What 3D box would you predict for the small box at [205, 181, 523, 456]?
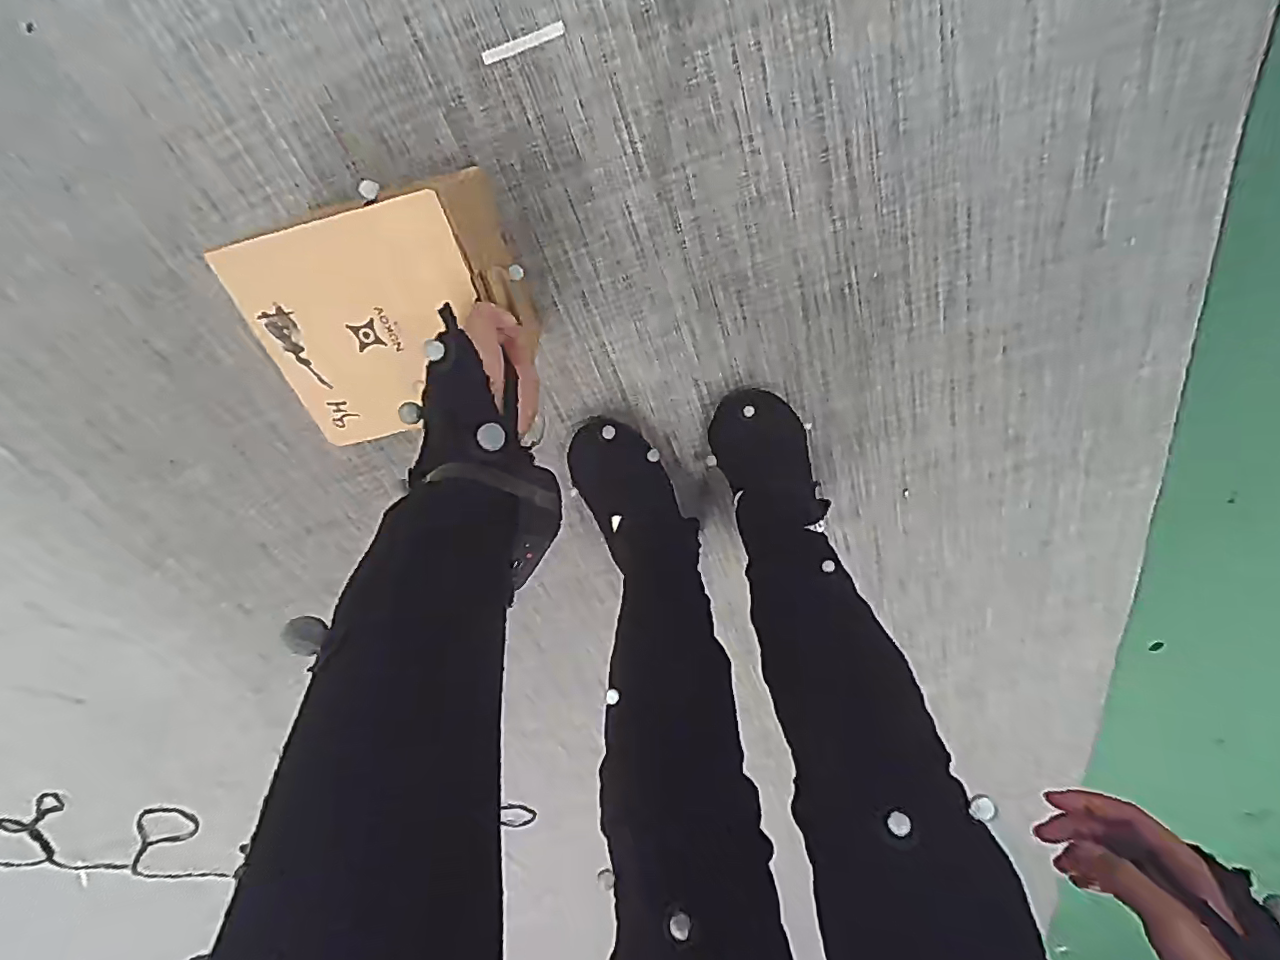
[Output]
[{"bbox_3d":[-0.211,-0.150,0.481,0.179,0.176,0.168,-13,126,3],"label":"small box"}]
